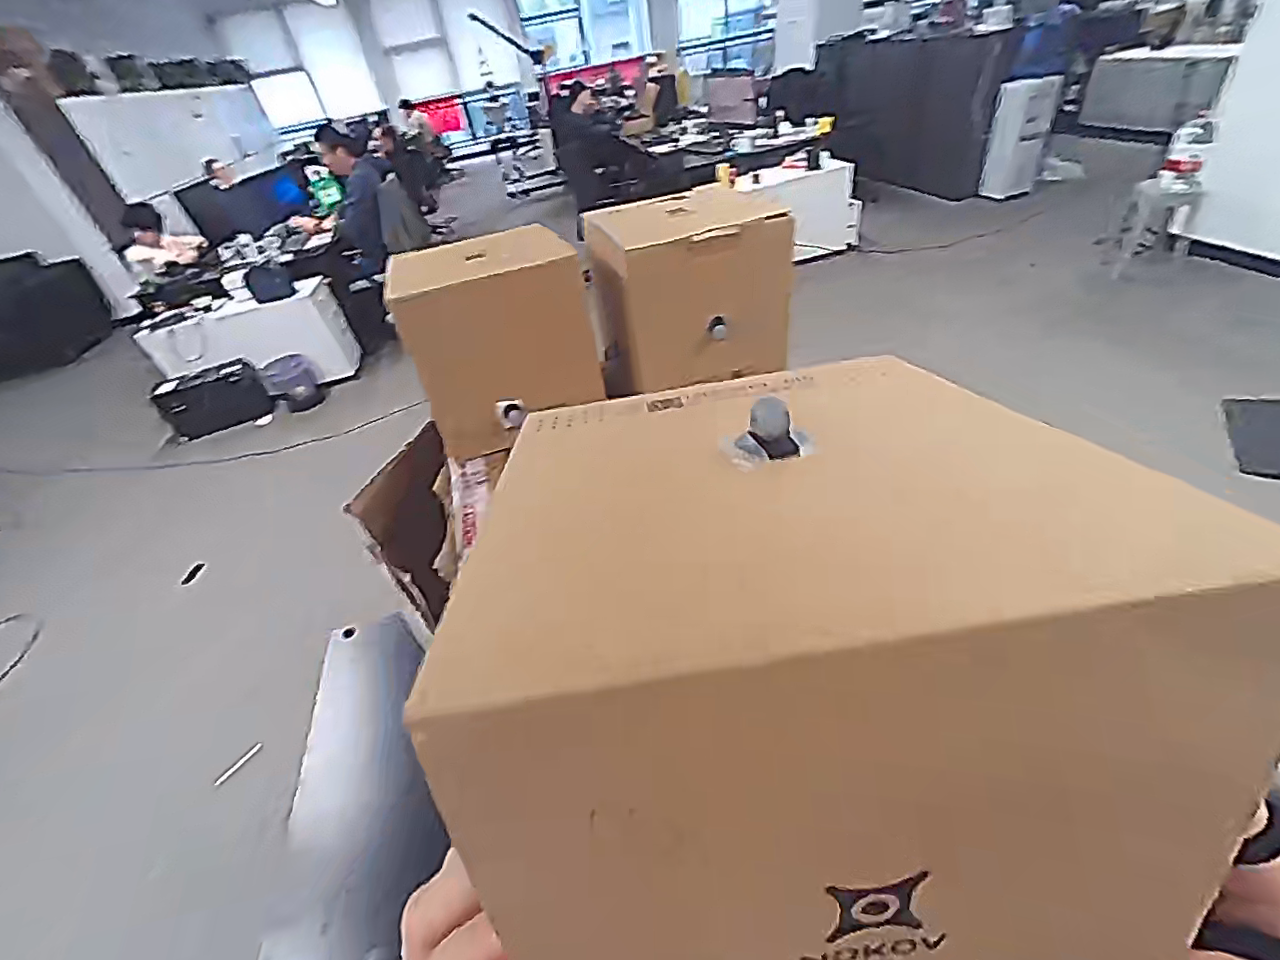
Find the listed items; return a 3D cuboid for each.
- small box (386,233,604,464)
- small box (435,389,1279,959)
[{"bbox_3d":[-0.151,-0.143,0.572,0.168,0.176,0.179,-20,38,-12],"label":"small box"},{"bbox_3d":[0.047,0.071,0.206,0.168,0.179,0.176,-8,24,1],"label":"small box"}]
